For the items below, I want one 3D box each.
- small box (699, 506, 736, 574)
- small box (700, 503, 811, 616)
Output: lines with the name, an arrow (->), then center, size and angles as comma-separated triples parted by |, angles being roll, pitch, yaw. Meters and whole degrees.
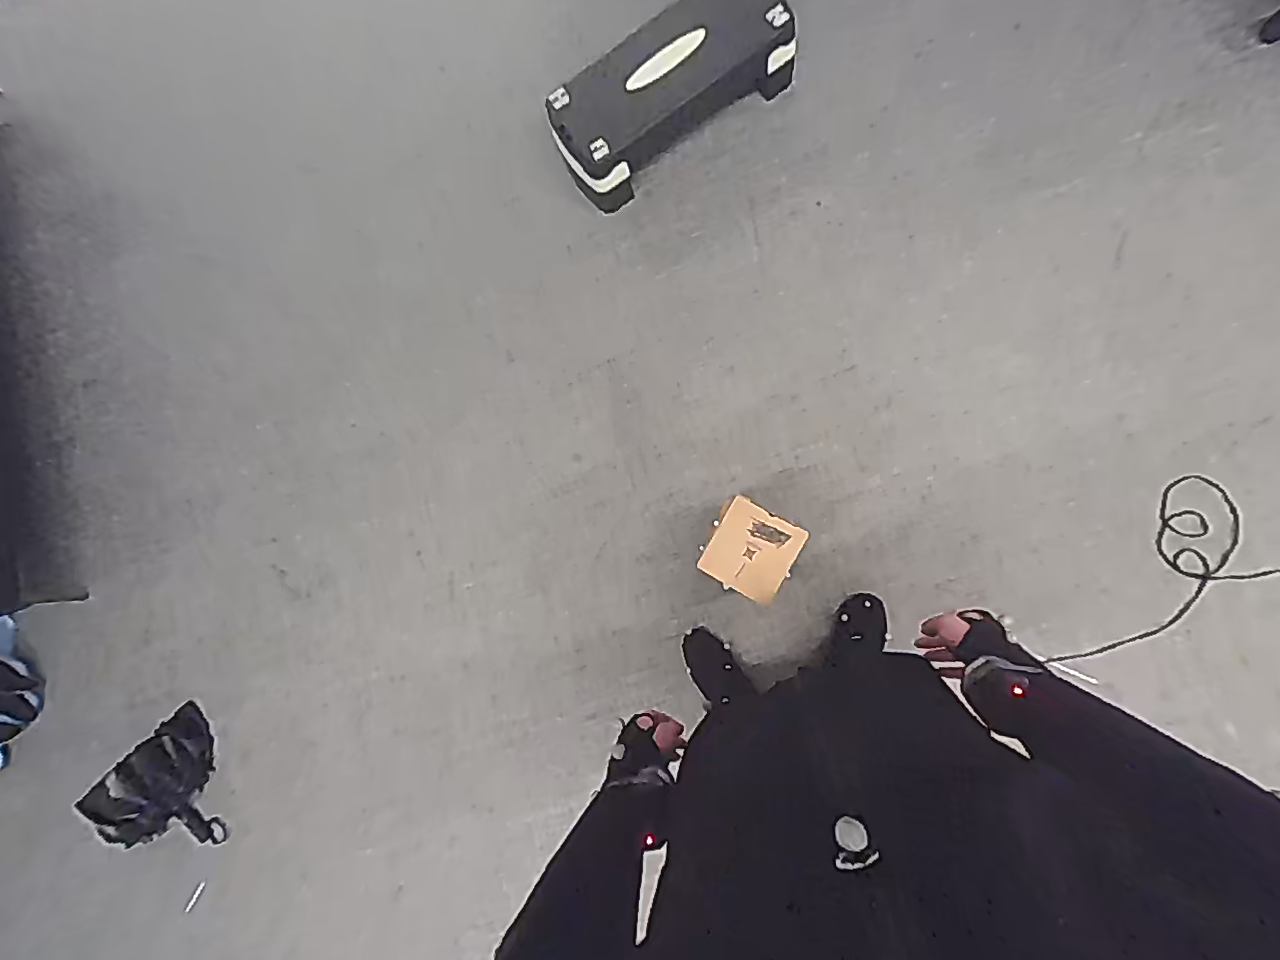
small box -> 0.260, 0.183, 1.339 | 0.168, 0.176, 0.179 | 22, 85, 12
small box -> 0.246, 0.169, 1.175 | 0.168, 0.176, 0.179 | 30, 89, 13
